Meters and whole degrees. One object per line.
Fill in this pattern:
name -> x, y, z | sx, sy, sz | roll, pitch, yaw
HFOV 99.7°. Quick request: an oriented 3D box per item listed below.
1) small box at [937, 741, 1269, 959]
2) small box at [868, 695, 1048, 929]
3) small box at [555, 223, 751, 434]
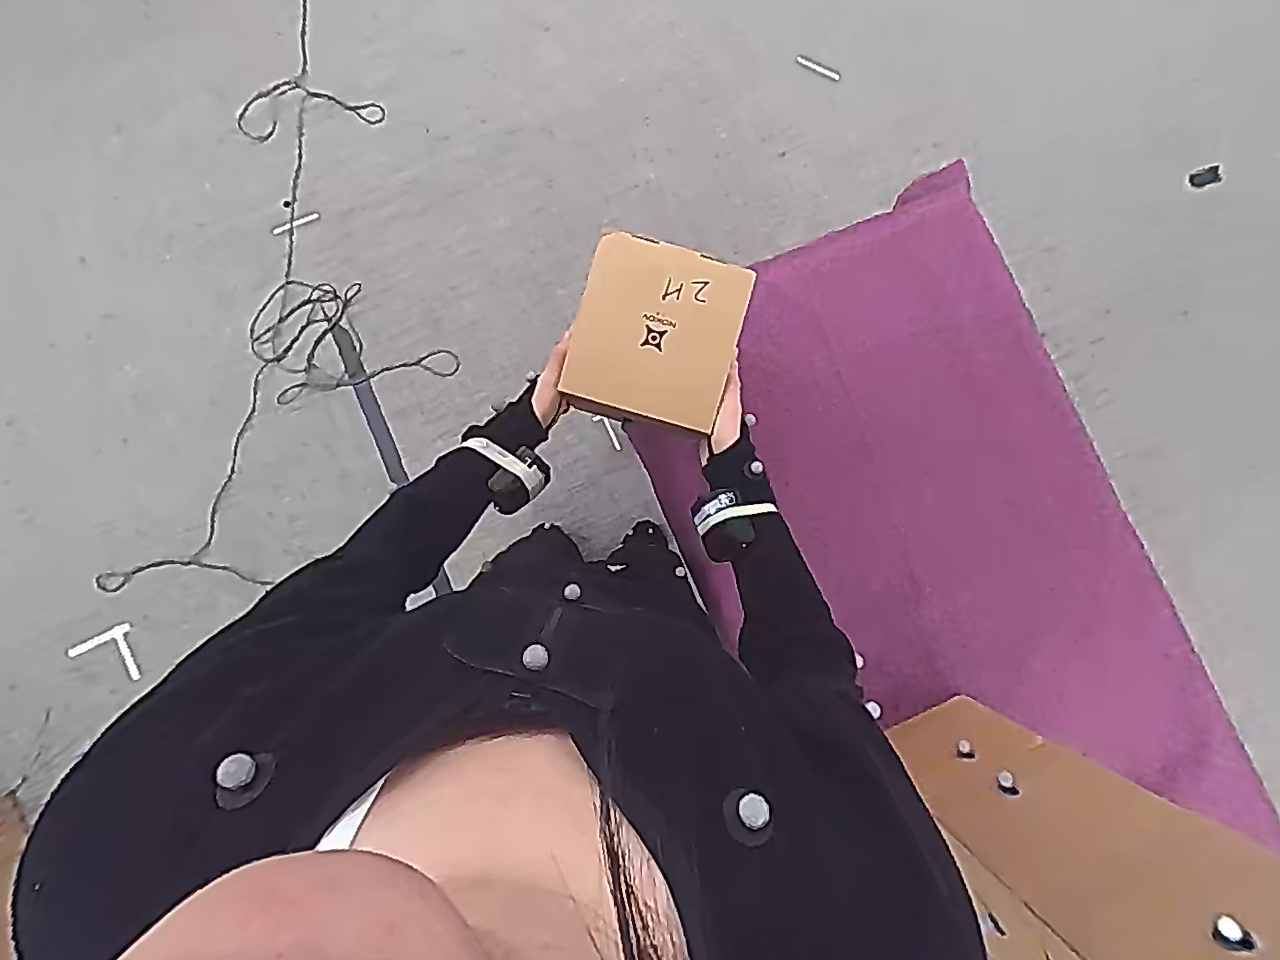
small box -> 0.433, 0.398, 0.539 | 0.179, 0.176, 0.168 | -22, 87, -3
small box -> 0.425, 0.411, 0.702 | 0.179, 0.176, 0.168 | -23, 87, -3
small box -> 0.012, -0.157, 0.628 | 0.168, 0.176, 0.179 | 15, 91, -2
